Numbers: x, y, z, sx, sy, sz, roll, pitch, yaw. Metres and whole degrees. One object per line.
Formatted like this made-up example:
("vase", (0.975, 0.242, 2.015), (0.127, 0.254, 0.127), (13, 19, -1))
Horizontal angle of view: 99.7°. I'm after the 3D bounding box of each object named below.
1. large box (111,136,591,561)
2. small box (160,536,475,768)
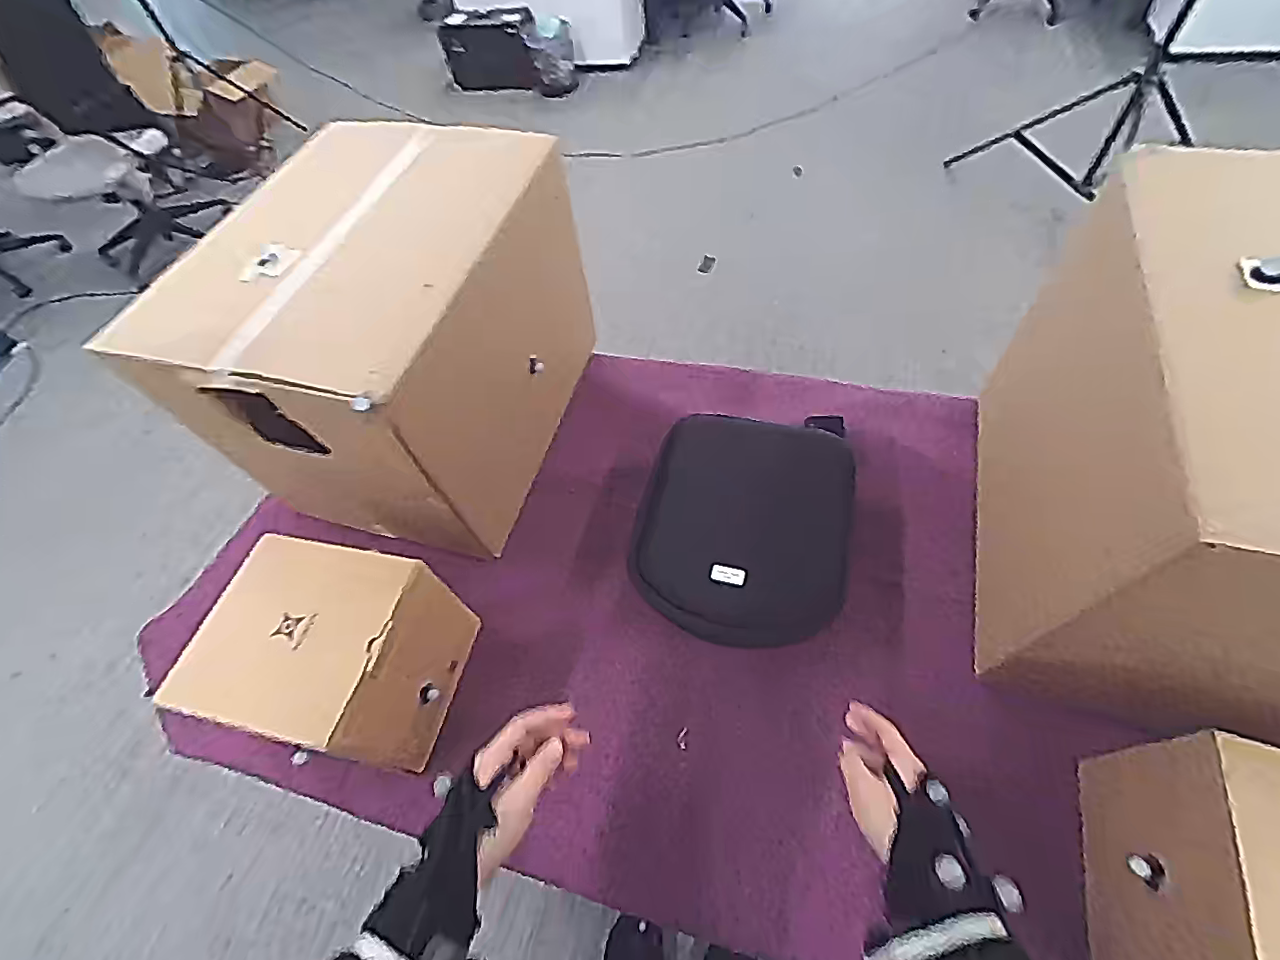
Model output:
("large box", (-0.280, -0.163, 0.686), (0.320, 0.320, 0.408), (10, 61, 12))
("small box", (-0.299, 0.177, 0.547), (0.179, 0.176, 0.168), (7, 56, 11))
